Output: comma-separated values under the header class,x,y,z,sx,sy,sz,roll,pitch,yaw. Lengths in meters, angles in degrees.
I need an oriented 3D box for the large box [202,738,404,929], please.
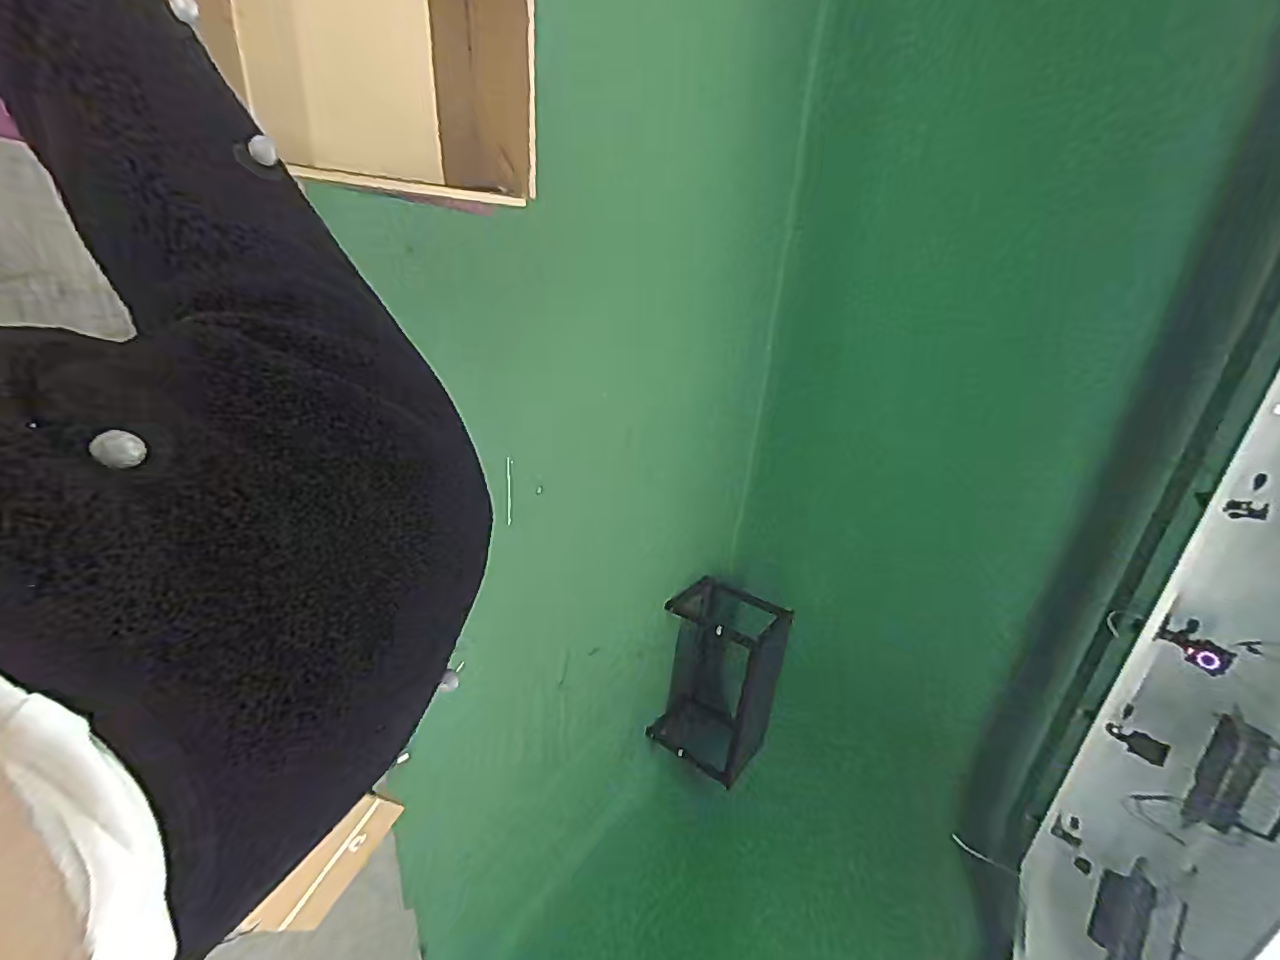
class,x,y,z,sx,sy,sz,roll,pitch,yaw
large box,-1.080,1.141,1.759,0.408,0.320,0.320,-55,145,-26
